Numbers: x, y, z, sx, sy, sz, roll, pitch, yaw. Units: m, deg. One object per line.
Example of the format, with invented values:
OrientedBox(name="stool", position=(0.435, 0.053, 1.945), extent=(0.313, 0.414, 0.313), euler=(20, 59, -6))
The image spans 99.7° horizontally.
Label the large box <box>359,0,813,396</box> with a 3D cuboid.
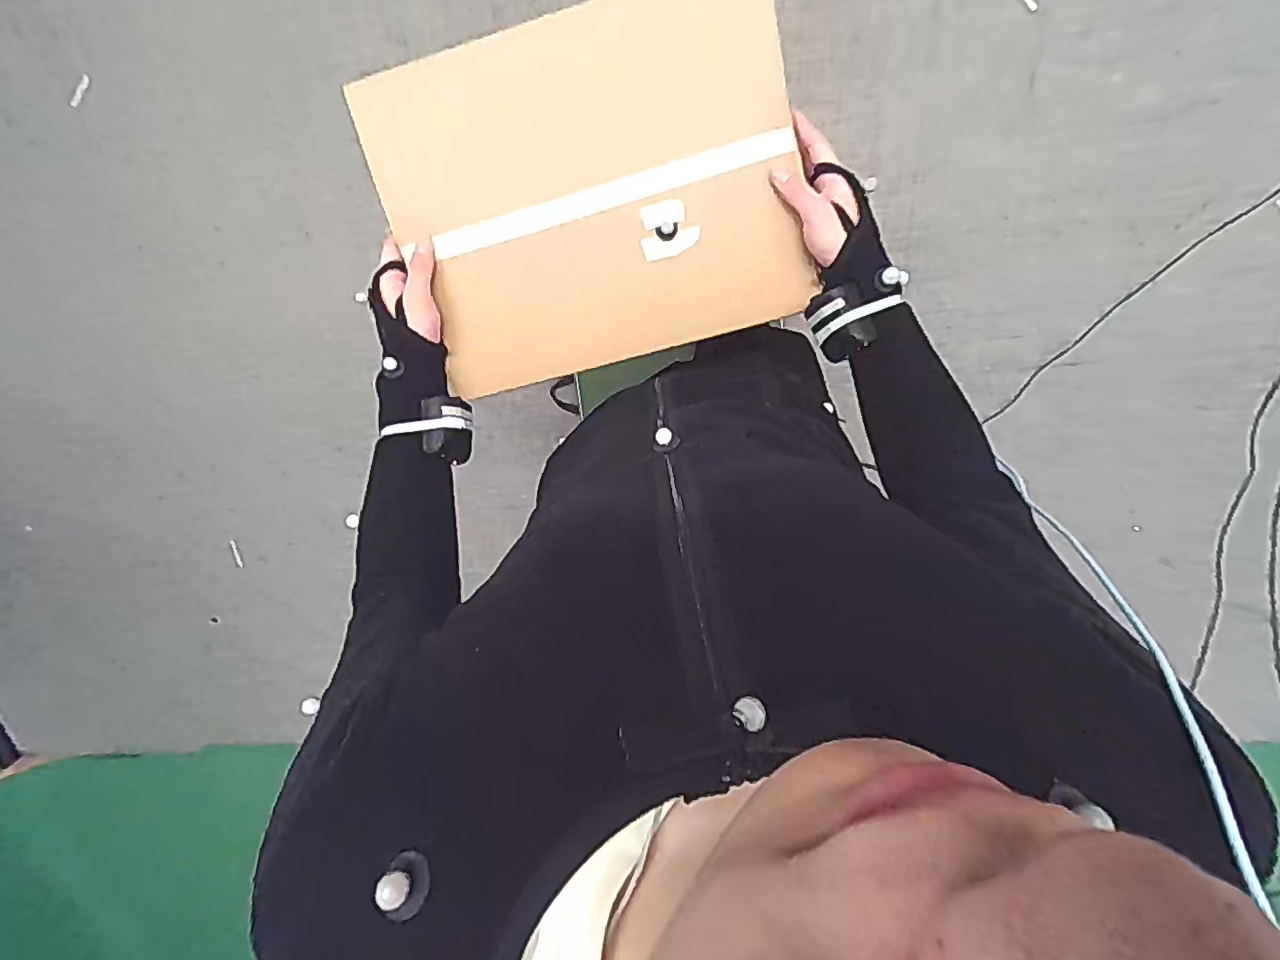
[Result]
OrientedBox(name="large box", position=(-0.045, -0.324, 0.689), extent=(0.408, 0.320, 0.320), euler=(-14, 106, 6))
